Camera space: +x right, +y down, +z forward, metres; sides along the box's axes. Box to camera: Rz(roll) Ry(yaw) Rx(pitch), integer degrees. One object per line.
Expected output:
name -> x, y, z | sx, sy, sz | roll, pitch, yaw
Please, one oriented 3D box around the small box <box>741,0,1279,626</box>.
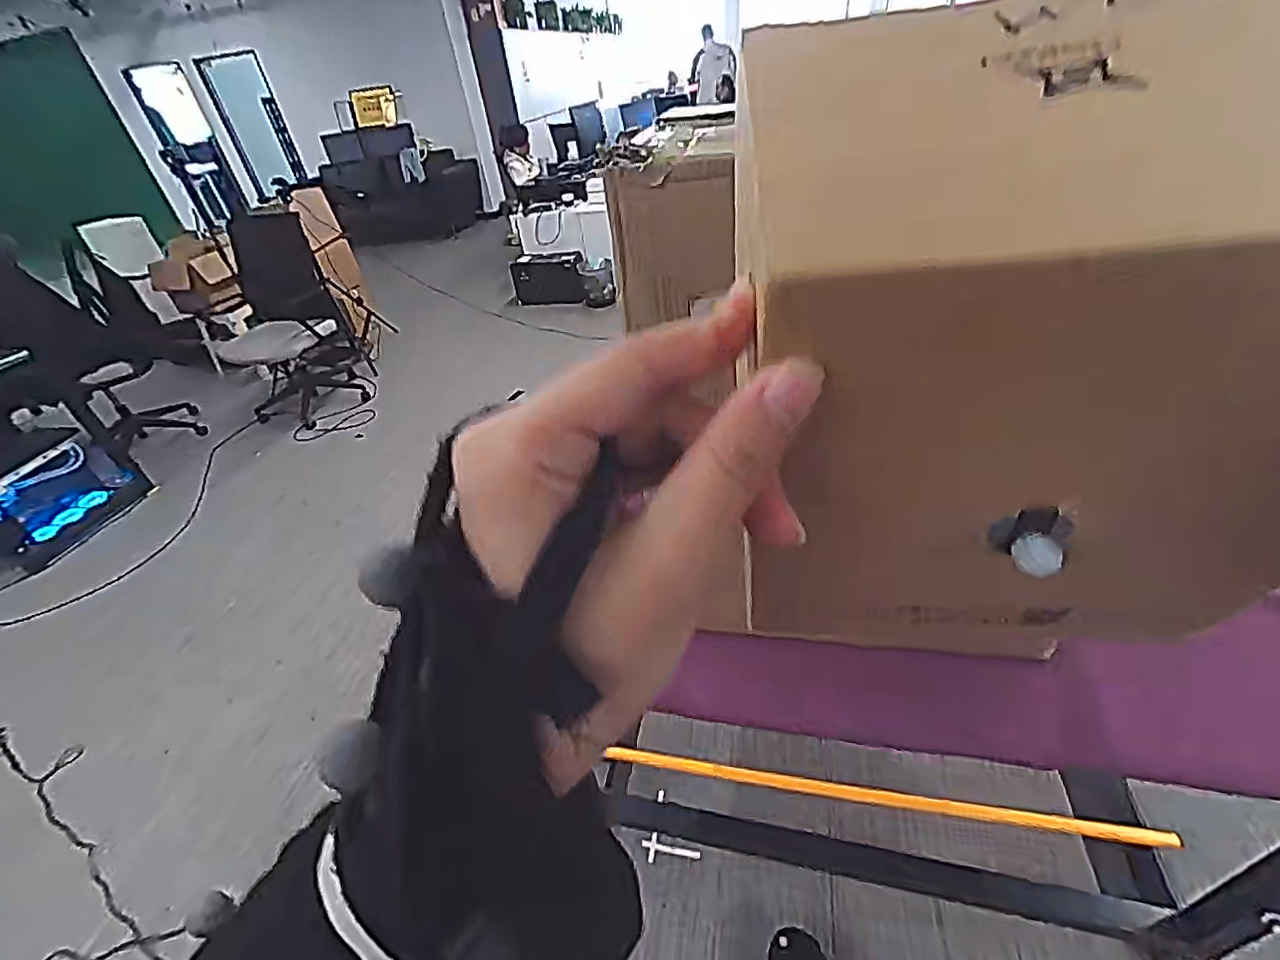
small box -> 0.125, -0.056, 0.208 | 0.168, 0.176, 0.179 | -1, 52, 9
